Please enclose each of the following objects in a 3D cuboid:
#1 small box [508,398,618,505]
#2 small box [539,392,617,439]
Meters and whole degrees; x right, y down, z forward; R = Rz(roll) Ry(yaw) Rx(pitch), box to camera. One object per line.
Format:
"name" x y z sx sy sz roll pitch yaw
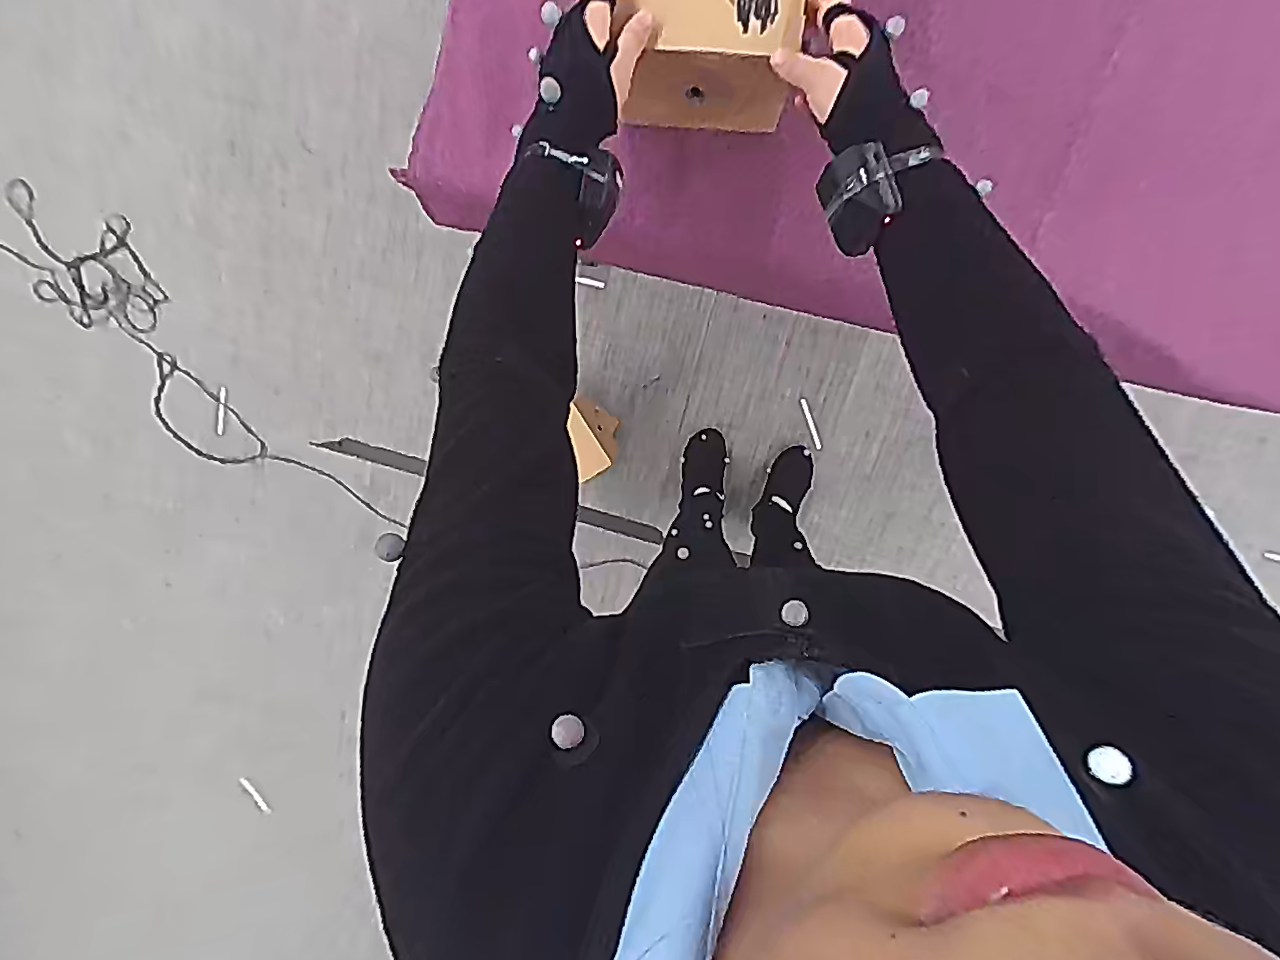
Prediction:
"small box" -0.162 -0.072 1.217 0.179 0.176 0.168 -31 99 10
"small box" -0.173 -0.106 1.380 0.168 0.176 0.179 36 103 -5
